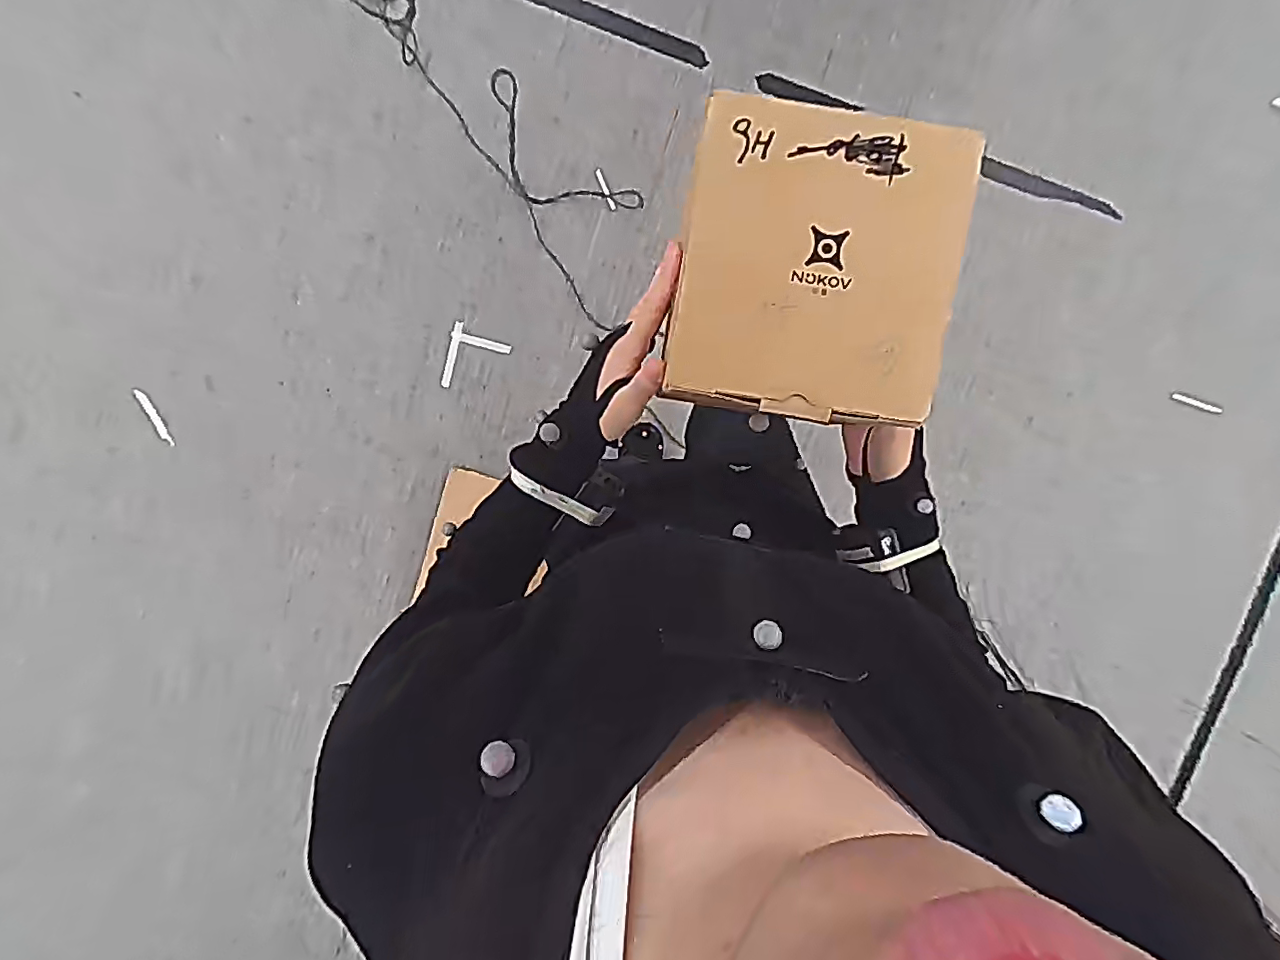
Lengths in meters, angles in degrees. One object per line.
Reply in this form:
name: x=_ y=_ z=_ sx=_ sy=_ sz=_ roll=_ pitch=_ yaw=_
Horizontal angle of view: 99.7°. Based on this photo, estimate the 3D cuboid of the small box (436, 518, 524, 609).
small box: x=-0.402 y=0.206 z=1.388 sx=0.168 sy=0.176 sz=0.179 roll=14 pitch=96 yaw=-4

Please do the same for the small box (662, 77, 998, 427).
small box: x=0.110 y=-0.140 z=0.396 sx=0.168 sy=0.176 sz=0.179 roll=8 pitch=98 yaw=-3
